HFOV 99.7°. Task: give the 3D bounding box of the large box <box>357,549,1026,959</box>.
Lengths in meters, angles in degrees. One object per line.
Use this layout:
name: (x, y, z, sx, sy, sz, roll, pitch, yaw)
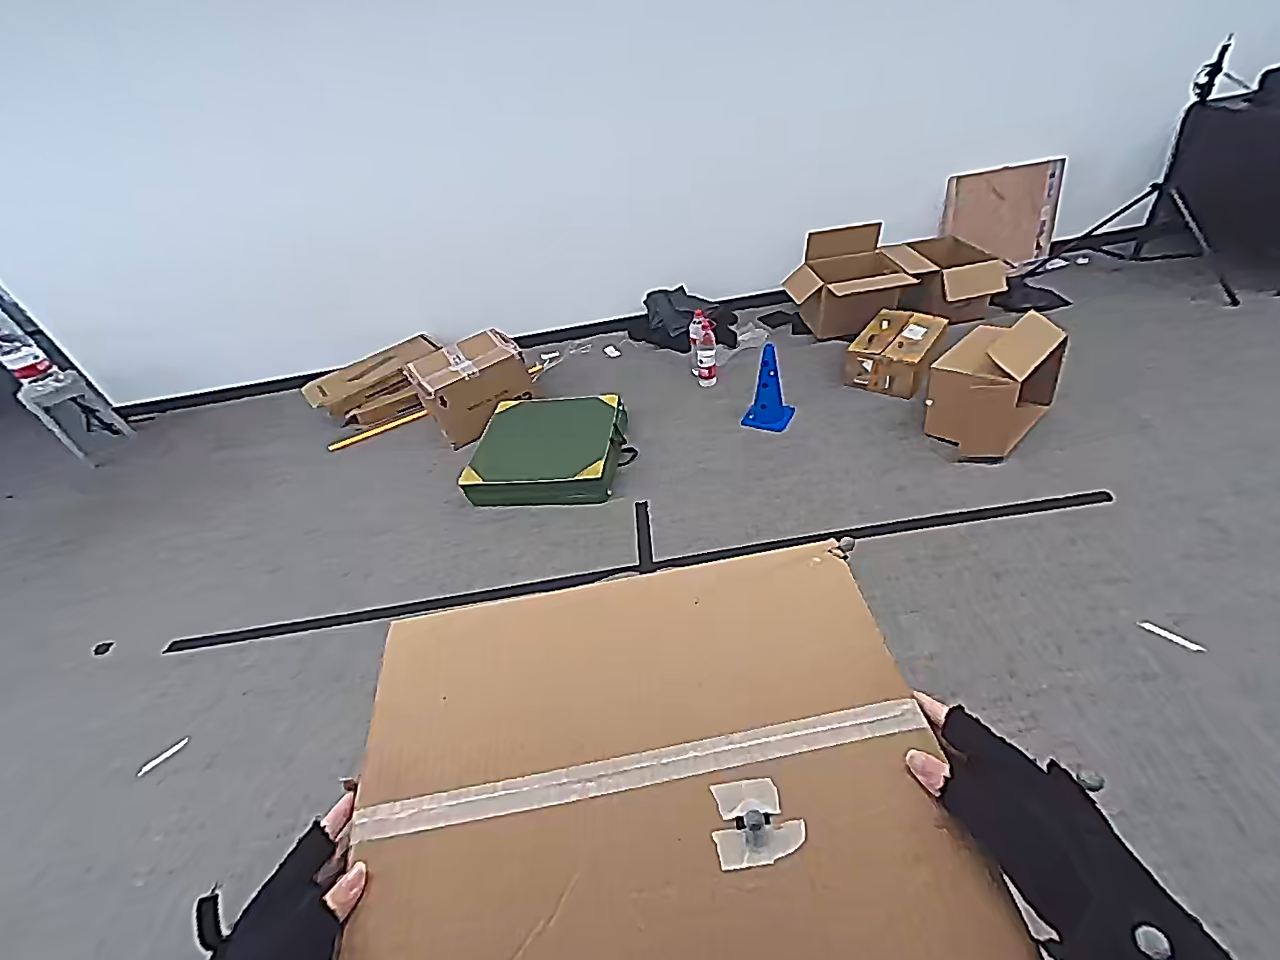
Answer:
large box: (0.017, 0.309, 0.507, 0.408, 0.320, 0.320, -10, 49, -3)
